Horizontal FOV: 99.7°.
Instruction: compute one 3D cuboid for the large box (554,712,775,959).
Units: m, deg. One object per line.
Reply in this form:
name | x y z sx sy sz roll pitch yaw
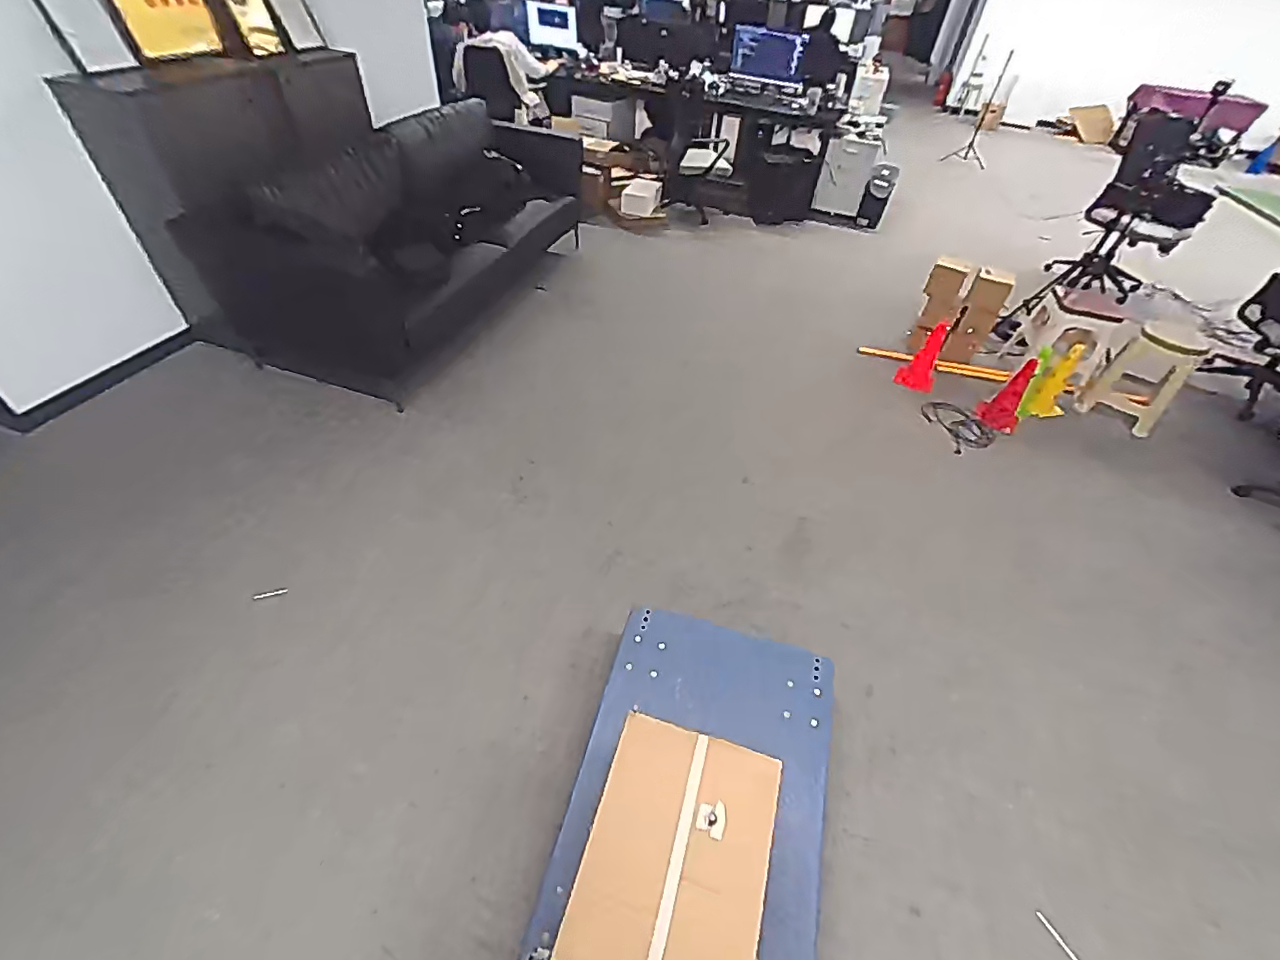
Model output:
large box | 0.058 0.746 1.063 0.320 0.320 0.408 15 52 9
